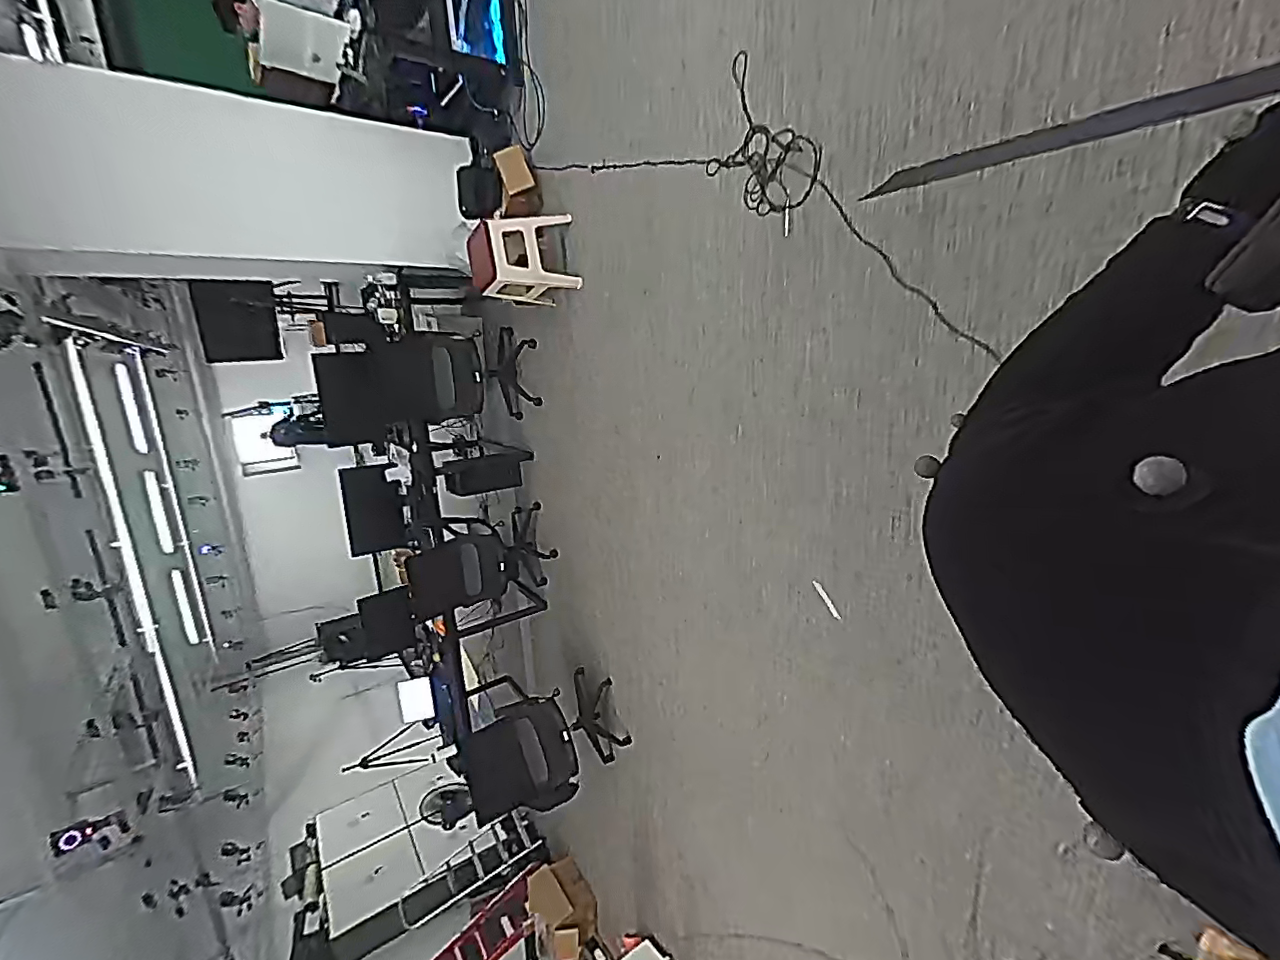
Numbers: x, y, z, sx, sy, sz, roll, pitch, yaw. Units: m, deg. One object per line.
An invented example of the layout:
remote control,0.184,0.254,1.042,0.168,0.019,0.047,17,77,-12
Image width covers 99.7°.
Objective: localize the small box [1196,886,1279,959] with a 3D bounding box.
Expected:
small box,1.245,0.975,1.078,0.168,0.176,0.179,20,117,53
